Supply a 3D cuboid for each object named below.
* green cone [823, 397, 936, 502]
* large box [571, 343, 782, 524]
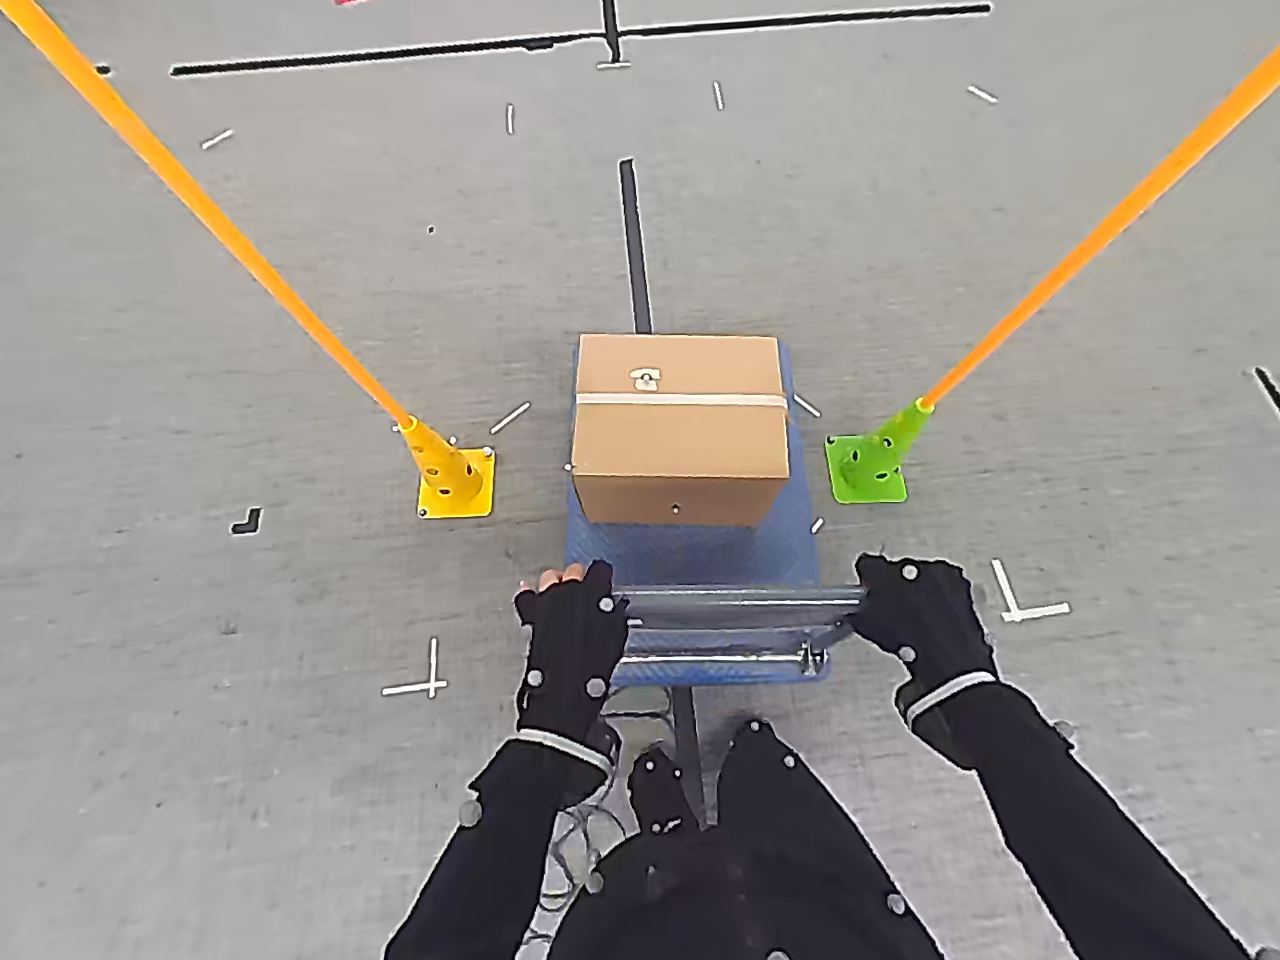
[{"bbox_3d":[0.625,-0.096,1.355,0.202,0.368,0.200,-2,69,-1],"label":"green cone"},{"bbox_3d":[0.074,-0.086,1.202,0.408,0.320,0.320,1,69,2],"label":"large box"}]
